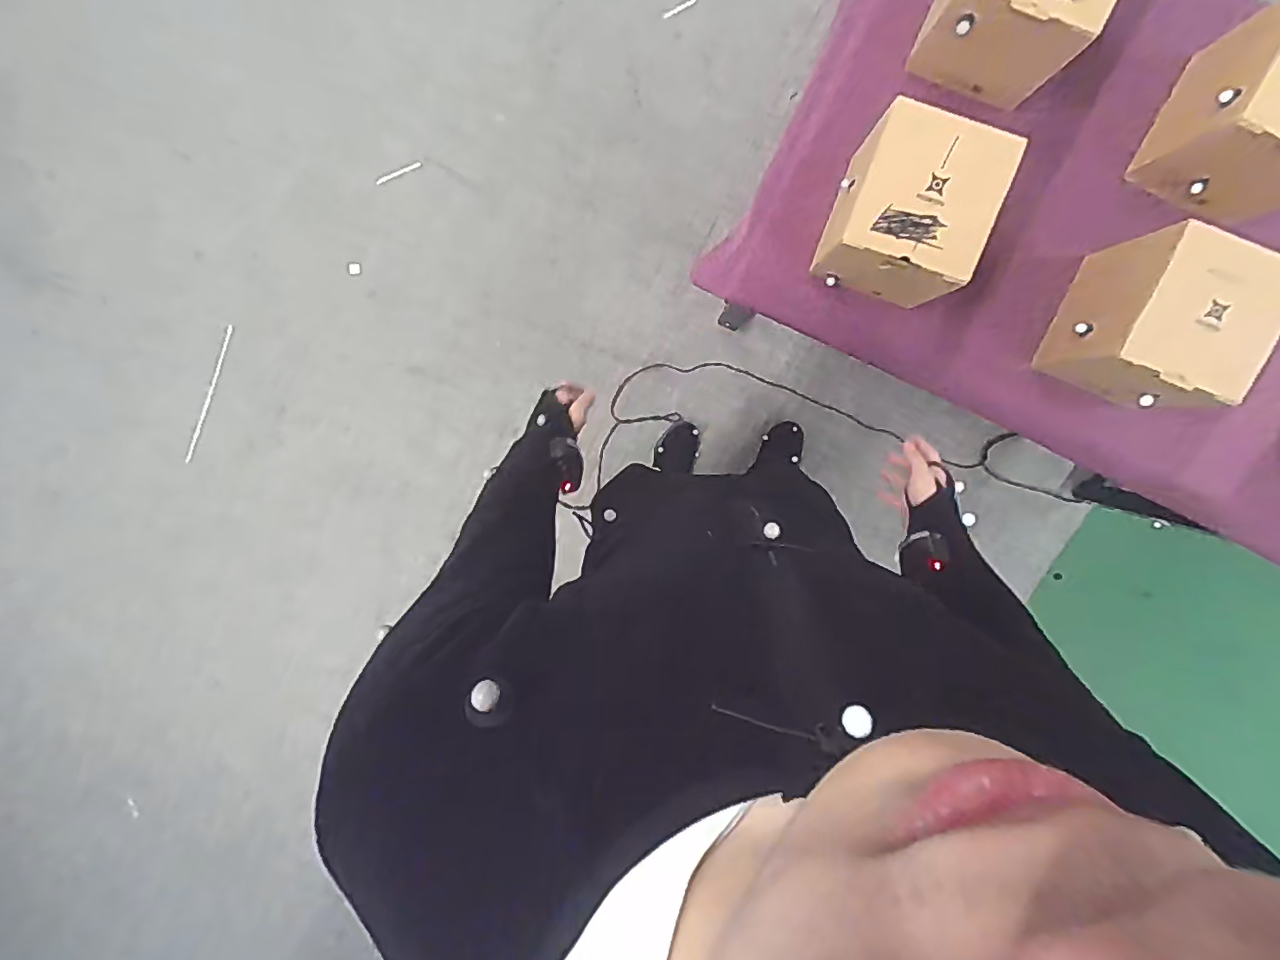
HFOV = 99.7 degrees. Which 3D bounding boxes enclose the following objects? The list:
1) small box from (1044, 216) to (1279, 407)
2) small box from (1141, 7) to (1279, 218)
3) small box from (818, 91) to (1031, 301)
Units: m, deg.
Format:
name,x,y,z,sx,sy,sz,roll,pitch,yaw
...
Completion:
name,x,y,z,sx,sy,sz,roll,pitch,yaw
small box,0.694,-0.209,0.719,0.168,0.176,0.179,23,99,0
small box,0.798,-0.463,0.670,0.168,0.176,0.179,25,101,0
small box,0.356,-0.357,0.720,0.168,0.176,0.179,20,98,1
